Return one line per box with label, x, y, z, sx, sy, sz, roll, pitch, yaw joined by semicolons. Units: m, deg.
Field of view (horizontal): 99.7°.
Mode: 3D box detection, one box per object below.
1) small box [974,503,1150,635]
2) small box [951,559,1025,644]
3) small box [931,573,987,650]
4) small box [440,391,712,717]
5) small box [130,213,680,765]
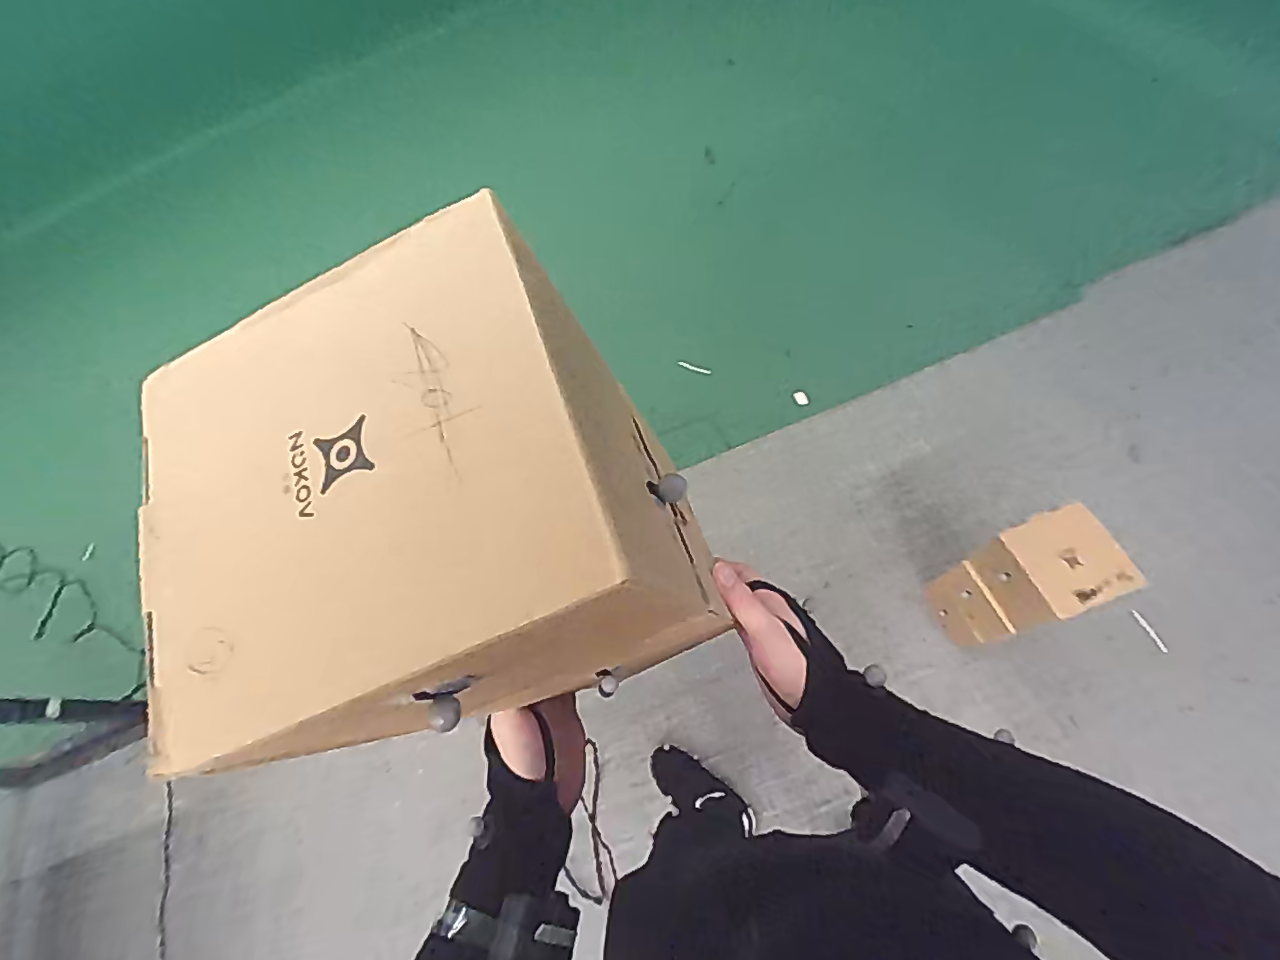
small box;0.783;0.175;1.031;0.168;0.176;0.179;-23;63;2
small box;0.812;0.242;1.178;0.179;0.176;0.168;-24;63;1
small box;0.844;0.304;1.324;0.179;0.176;0.168;-22;64;3
small box;-0.054;0.064;0.425;0.179;0.176;0.168;-26;68;8
small box;-0.099;0.019;0.275;0.179;0.176;0.168;-25;68;8
